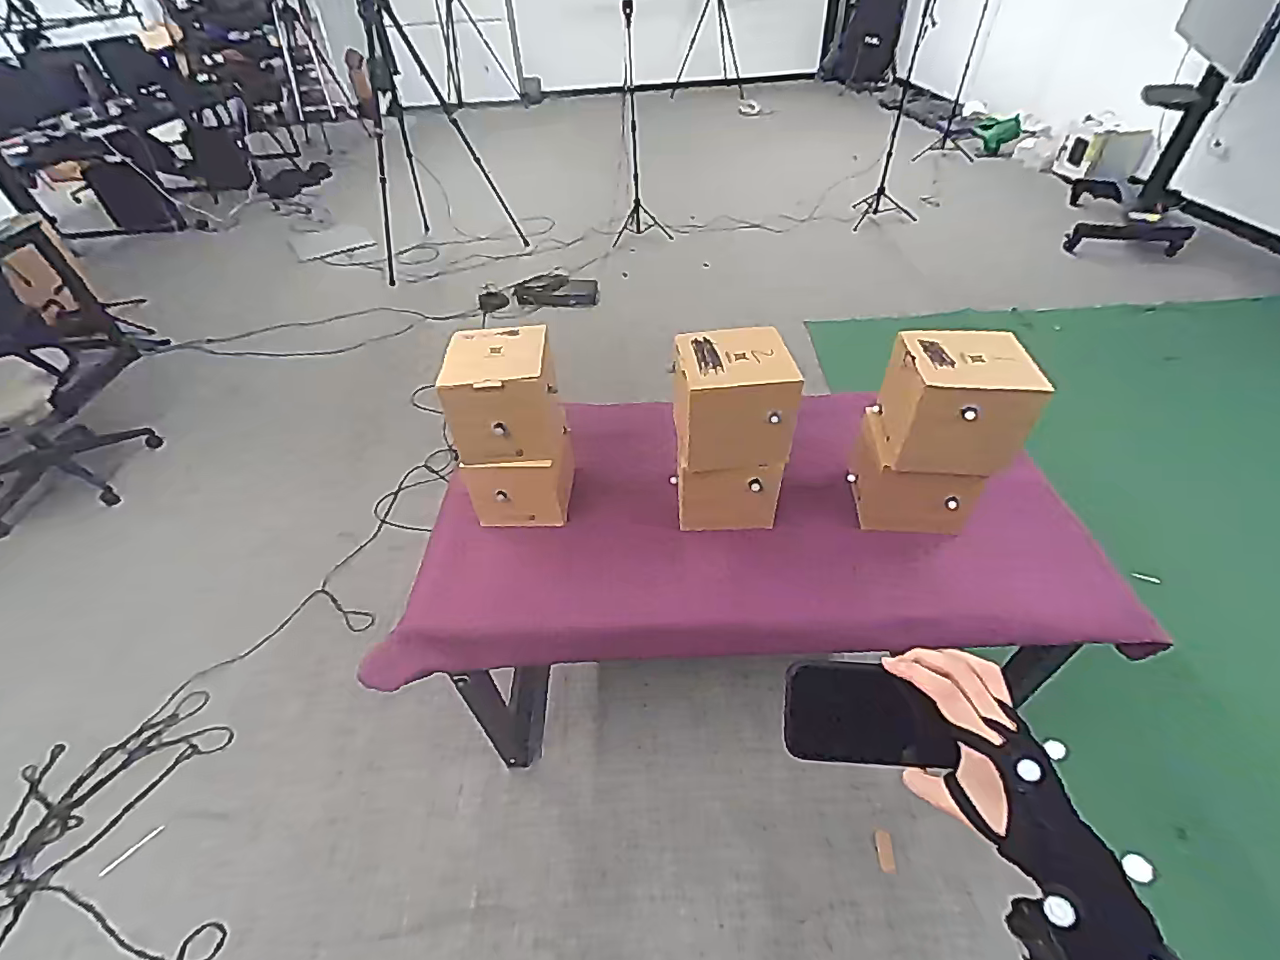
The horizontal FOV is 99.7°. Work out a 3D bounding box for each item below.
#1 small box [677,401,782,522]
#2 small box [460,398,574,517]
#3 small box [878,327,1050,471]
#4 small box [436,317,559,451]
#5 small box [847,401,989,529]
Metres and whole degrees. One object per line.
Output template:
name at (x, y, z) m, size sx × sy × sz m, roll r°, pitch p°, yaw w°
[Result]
small box at (0.160, -0.032, 1.026) m, size 0.179 × 0.176 × 0.168 m, roll -1°, pitch 45°, yaw 3°
small box at (-0.229, -0.042, 1.061) m, size 0.168 × 0.176 × 0.179 m, roll 0°, pitch 45°, yaw 3°
small box at (0.500, -0.130, 0.873) m, size 0.179 × 0.176 × 0.168 m, roll 4°, pitch 45°, yaw 7°
small box at (-0.237, -0.164, 0.951) m, size 0.168 × 0.176 × 0.179 m, roll -3°, pitch 46°, yaw -1°
small box at (0.499, -0.025, 0.999) m, size 0.179 × 0.176 × 0.168 m, roll 4°, pitch 45°, yaw 8°
